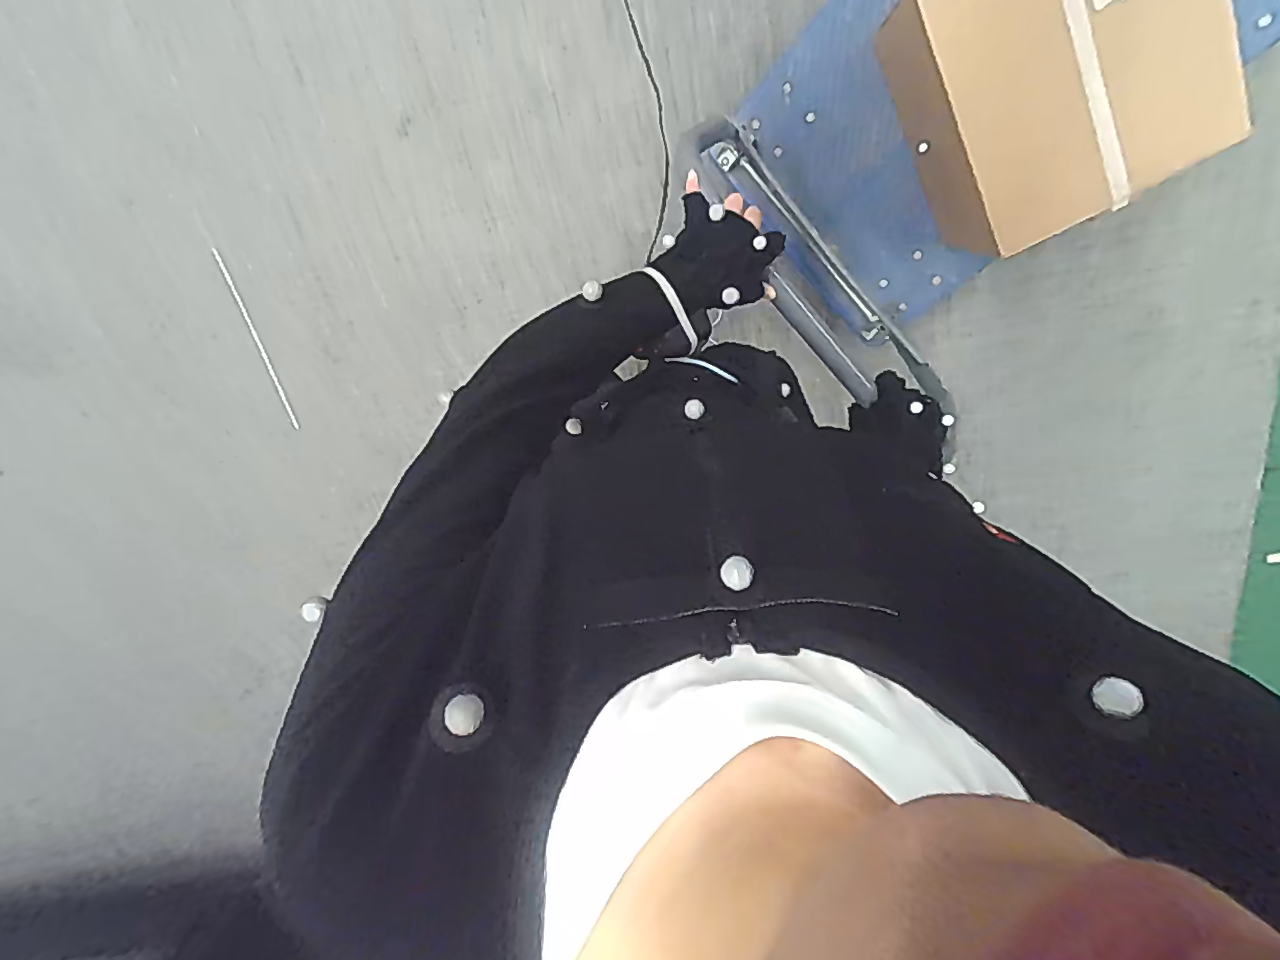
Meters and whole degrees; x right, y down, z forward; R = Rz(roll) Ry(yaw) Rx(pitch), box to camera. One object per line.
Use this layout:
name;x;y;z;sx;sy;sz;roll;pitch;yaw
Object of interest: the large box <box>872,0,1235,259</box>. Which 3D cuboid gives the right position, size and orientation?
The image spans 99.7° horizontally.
large box;0.619;-0.631;0.870;0.320;0.320;0.408;-24;109;22
